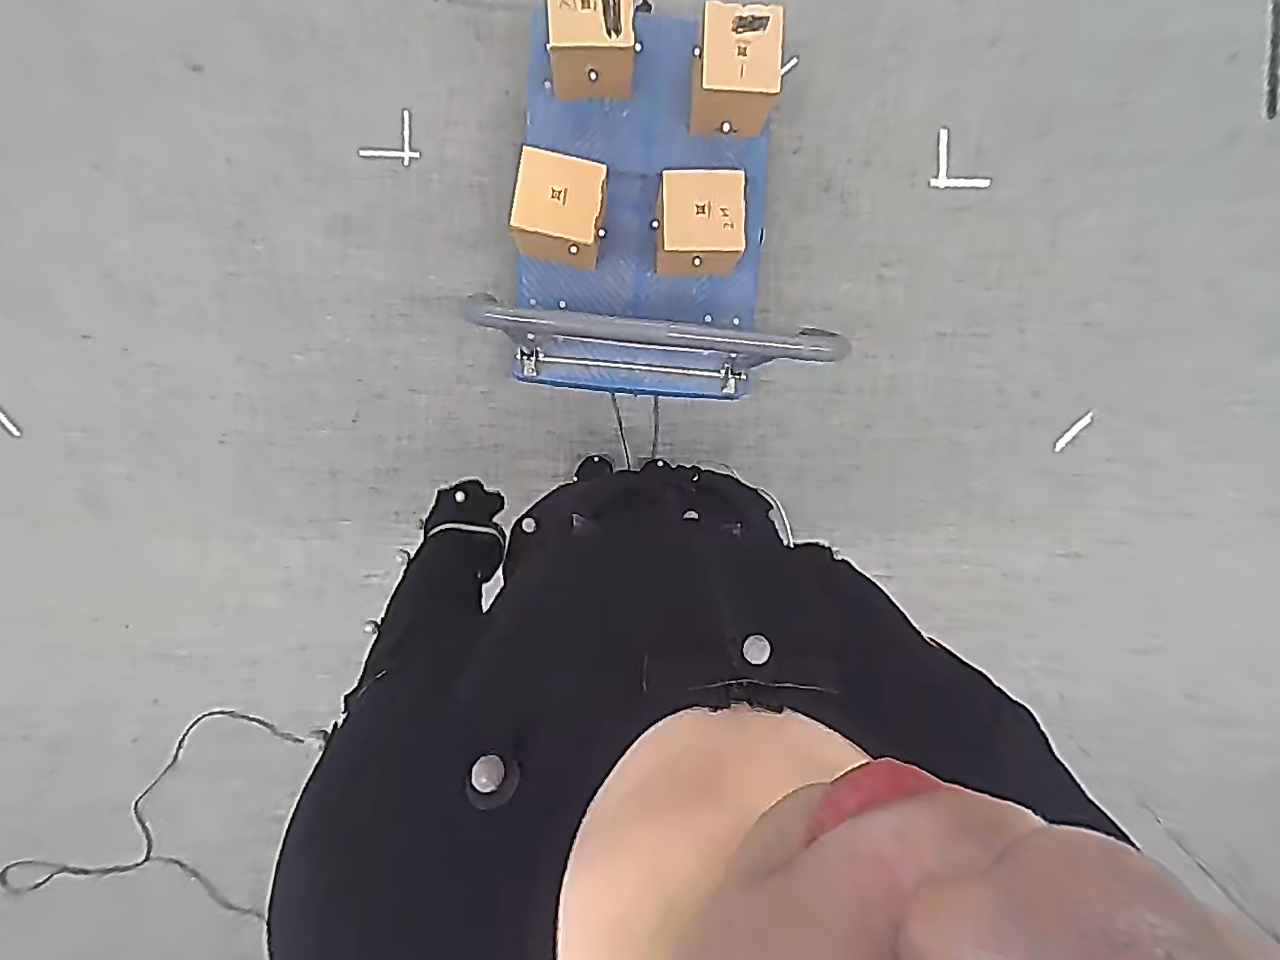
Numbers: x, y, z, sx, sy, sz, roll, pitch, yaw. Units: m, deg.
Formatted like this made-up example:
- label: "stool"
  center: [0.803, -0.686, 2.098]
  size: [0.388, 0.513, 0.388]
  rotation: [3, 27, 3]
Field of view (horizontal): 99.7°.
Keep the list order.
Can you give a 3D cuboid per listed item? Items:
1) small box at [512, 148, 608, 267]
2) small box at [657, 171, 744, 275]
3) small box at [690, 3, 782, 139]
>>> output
- label: "small box"
  center: [-0.174, -0.593, 1.200]
  size: [0.179, 0.176, 0.168]
  rotation: [10, 92, -6]
- label: "small box"
  center: [0.129, -0.571, 1.221]
  size: [0.179, 0.176, 0.168]
  rotation: [-1, 94, -4]
- label: "small box"
  center: [0.207, -0.902, 1.206]
  size: [0.168, 0.176, 0.179]
  rotation: [1, 94, -4]
